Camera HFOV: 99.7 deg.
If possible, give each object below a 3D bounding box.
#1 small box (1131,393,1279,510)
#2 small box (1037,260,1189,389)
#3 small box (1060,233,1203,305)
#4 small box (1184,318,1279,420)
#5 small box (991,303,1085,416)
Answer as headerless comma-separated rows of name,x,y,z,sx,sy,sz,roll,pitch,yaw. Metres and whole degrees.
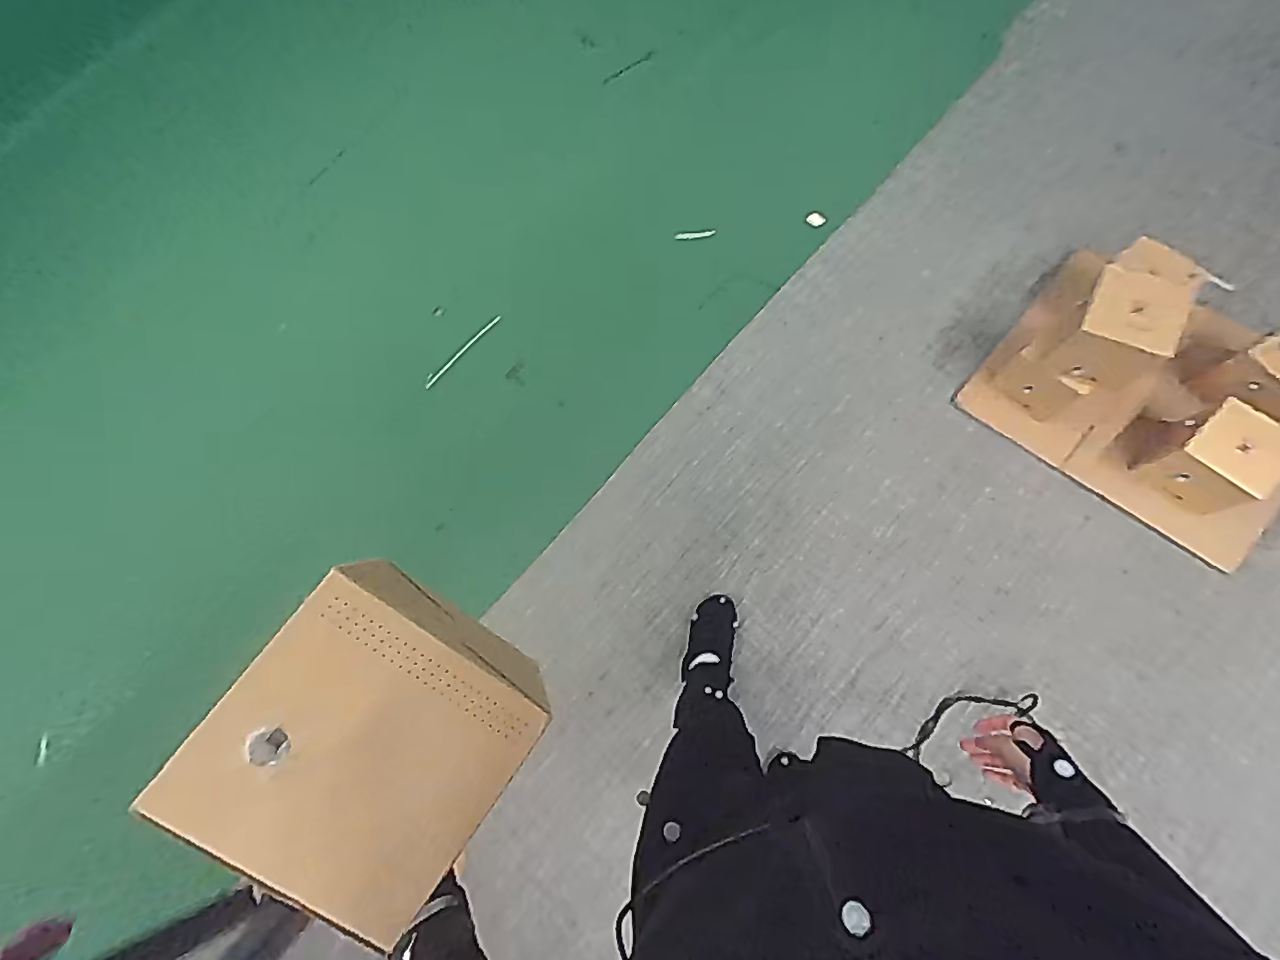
small box,1.279,-0.056,1.222,0.179,0.176,0.168,-44,73,-7
small box,1.013,-0.331,1.174,0.168,0.176,0.179,27,79,15
small box,1.217,-0.471,1.361,0.168,0.176,0.179,-41,72,-6
small box,1.450,-0.244,1.254,0.168,0.176,0.179,-33,73,-3
small box,1.012,-0.288,1.333,0.179,0.176,0.168,-43,73,-7
